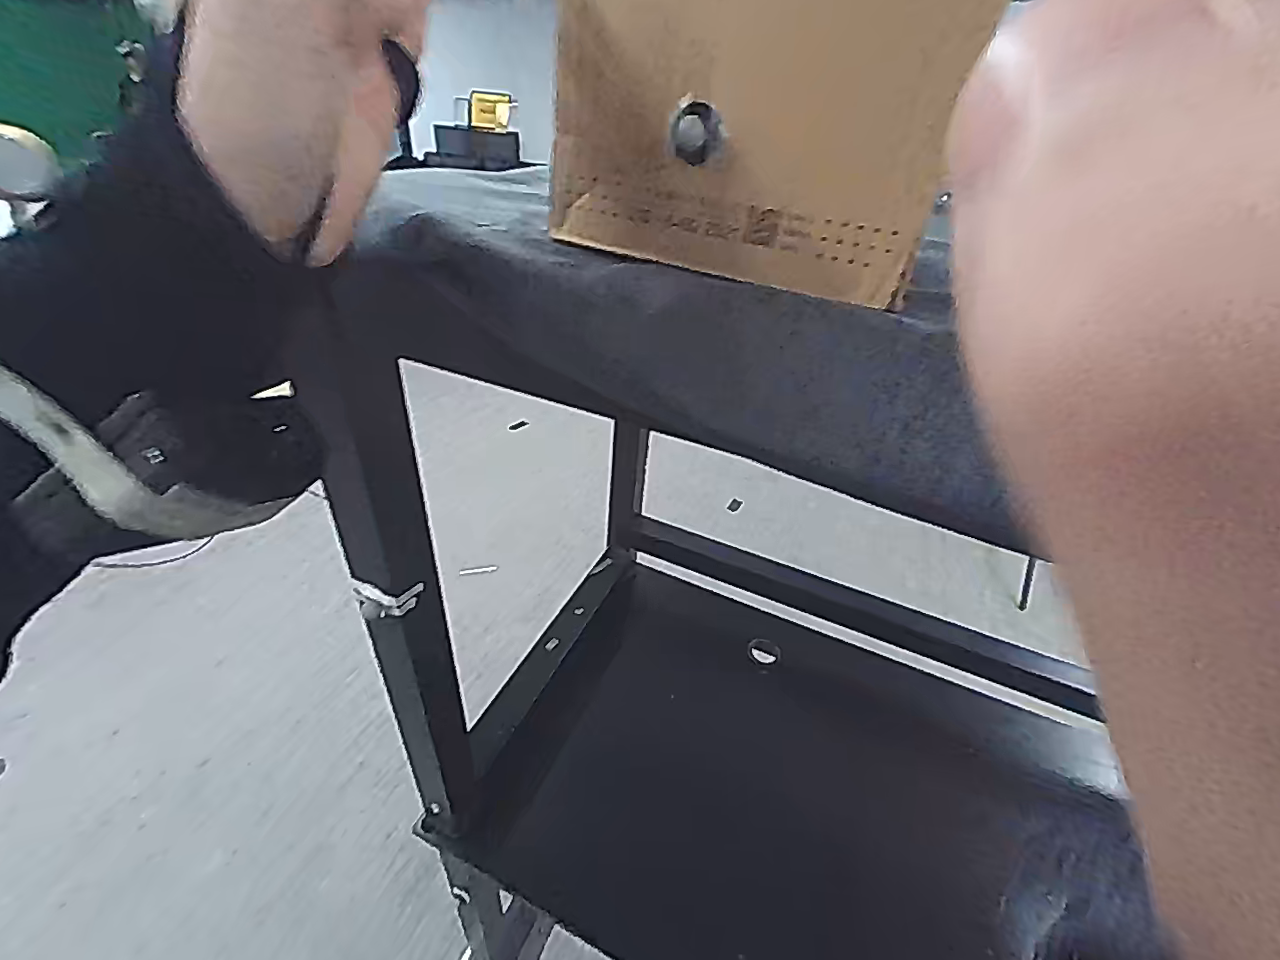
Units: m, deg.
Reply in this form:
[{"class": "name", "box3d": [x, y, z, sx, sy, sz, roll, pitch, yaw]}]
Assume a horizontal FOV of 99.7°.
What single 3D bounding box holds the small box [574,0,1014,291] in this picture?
[{"class": "small box", "box3d": [0.076, -0.207, 0.265, 0.168, 0.176, 0.179, 18, 35, 16]}]
